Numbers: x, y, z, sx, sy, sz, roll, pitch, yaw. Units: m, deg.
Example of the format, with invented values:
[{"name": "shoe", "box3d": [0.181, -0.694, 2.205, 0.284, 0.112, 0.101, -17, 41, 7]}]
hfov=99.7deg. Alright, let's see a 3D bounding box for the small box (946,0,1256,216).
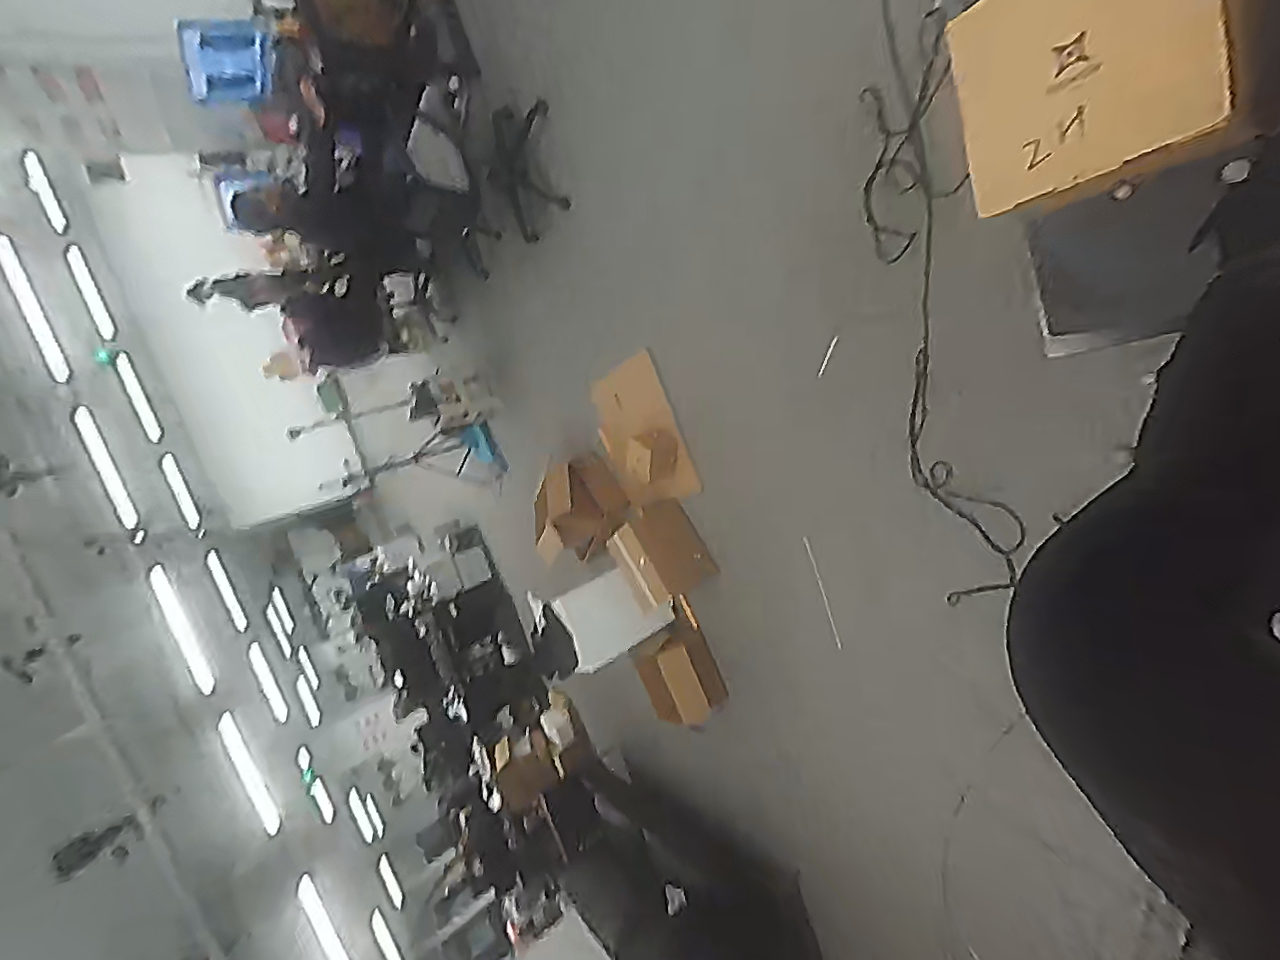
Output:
[{"name": "small box", "box3d": [0.405, -0.355, 0.477, 0.168, 0.176, 0.179, -3, 106, 56]}]
